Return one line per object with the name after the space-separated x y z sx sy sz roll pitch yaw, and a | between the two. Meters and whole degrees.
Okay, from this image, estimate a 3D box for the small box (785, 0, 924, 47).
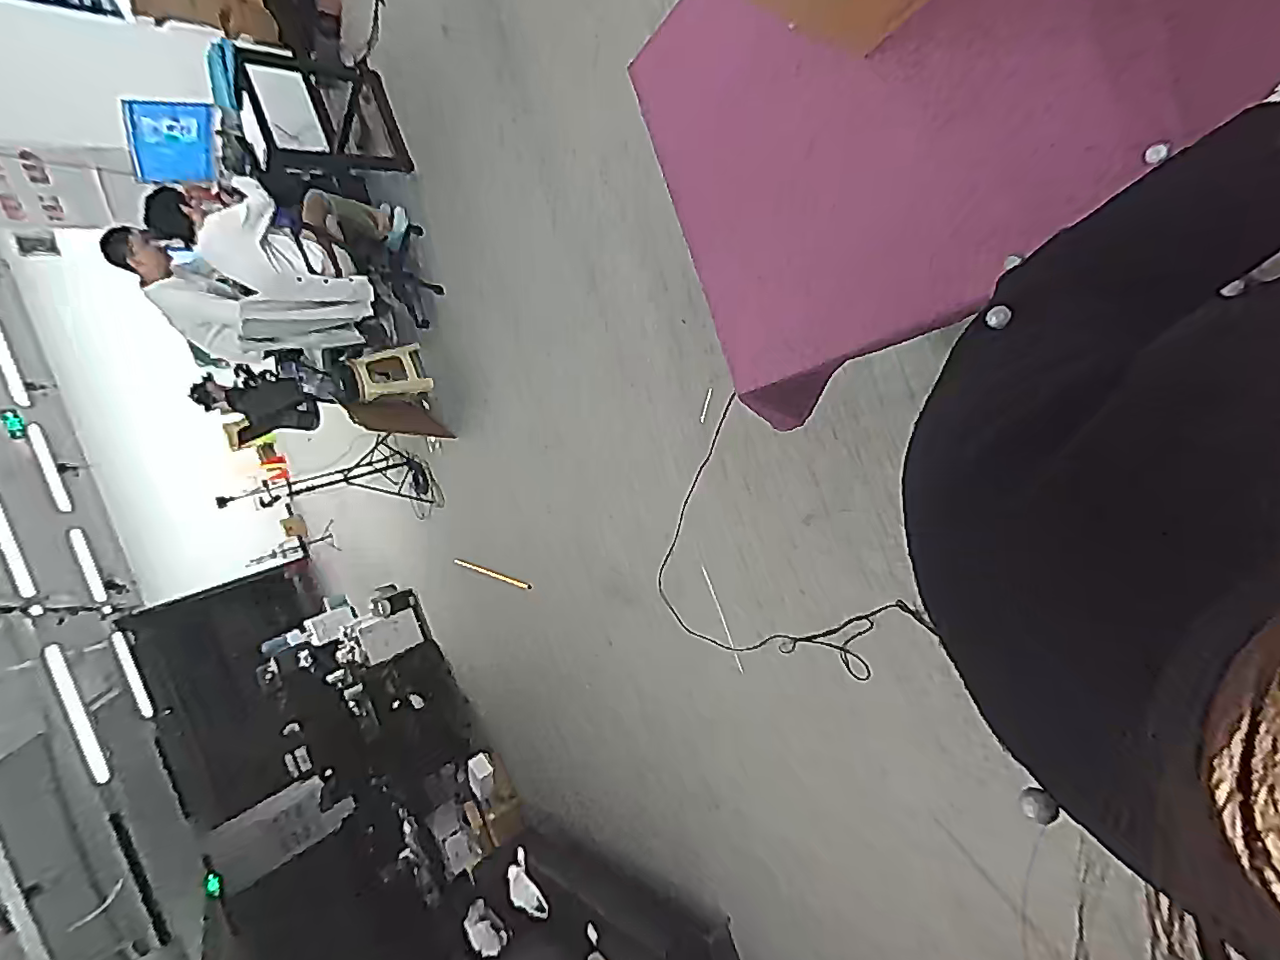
0.245 -0.606 0.571 0.168 0.176 0.179 -16 94 50 | small box

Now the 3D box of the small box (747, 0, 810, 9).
0.131 -0.557 0.463 0.168 0.176 0.179 -16 95 50 | small box
